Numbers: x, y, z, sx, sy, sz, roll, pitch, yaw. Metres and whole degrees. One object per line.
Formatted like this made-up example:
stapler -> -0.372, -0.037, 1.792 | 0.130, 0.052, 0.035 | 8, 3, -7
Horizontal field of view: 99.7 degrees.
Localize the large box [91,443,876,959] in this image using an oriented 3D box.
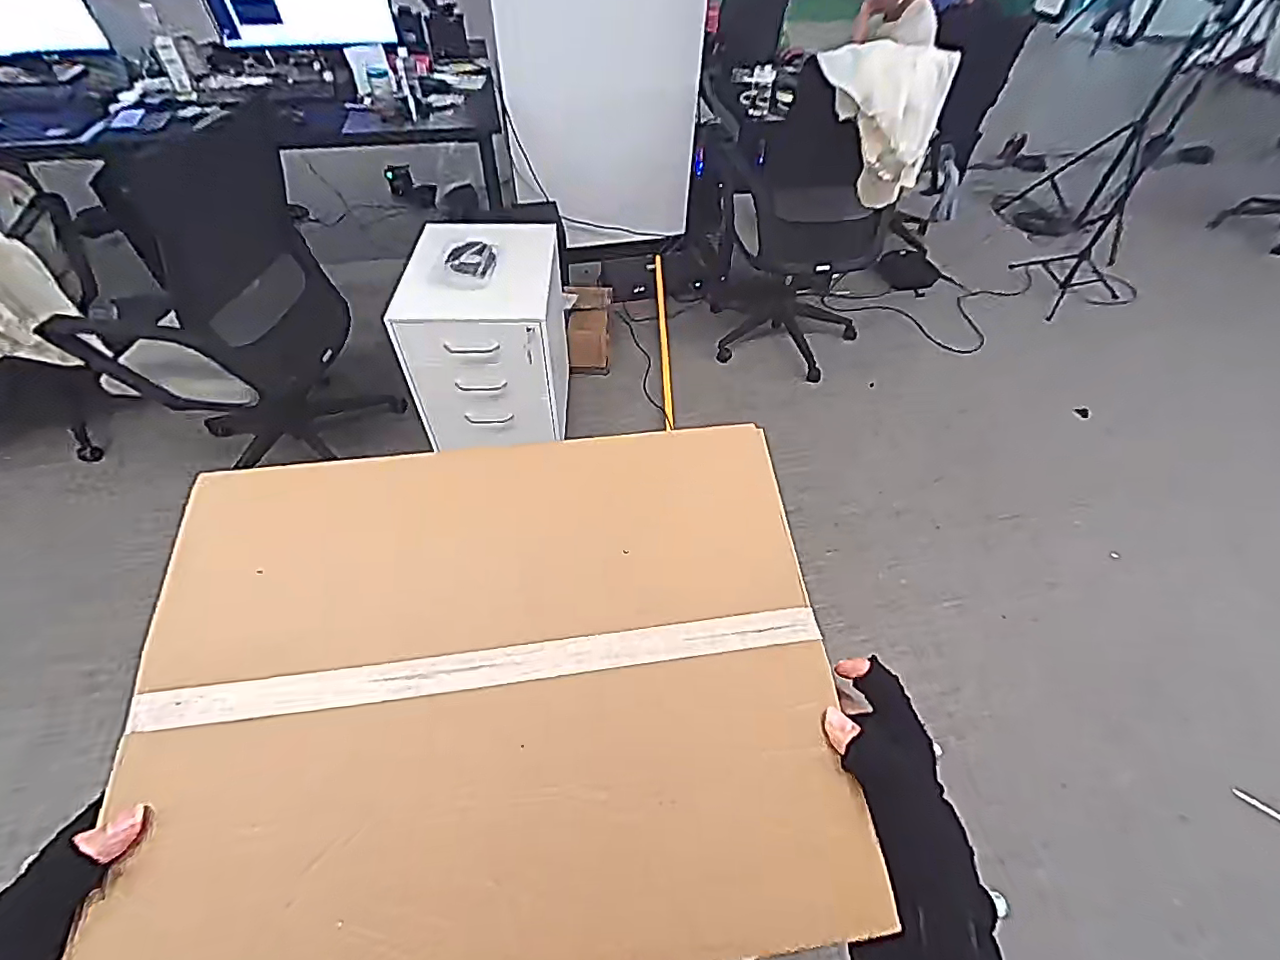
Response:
large box -> -0.093, 0.195, 0.465 | 0.408, 0.320, 0.320 | -6, 62, -5
